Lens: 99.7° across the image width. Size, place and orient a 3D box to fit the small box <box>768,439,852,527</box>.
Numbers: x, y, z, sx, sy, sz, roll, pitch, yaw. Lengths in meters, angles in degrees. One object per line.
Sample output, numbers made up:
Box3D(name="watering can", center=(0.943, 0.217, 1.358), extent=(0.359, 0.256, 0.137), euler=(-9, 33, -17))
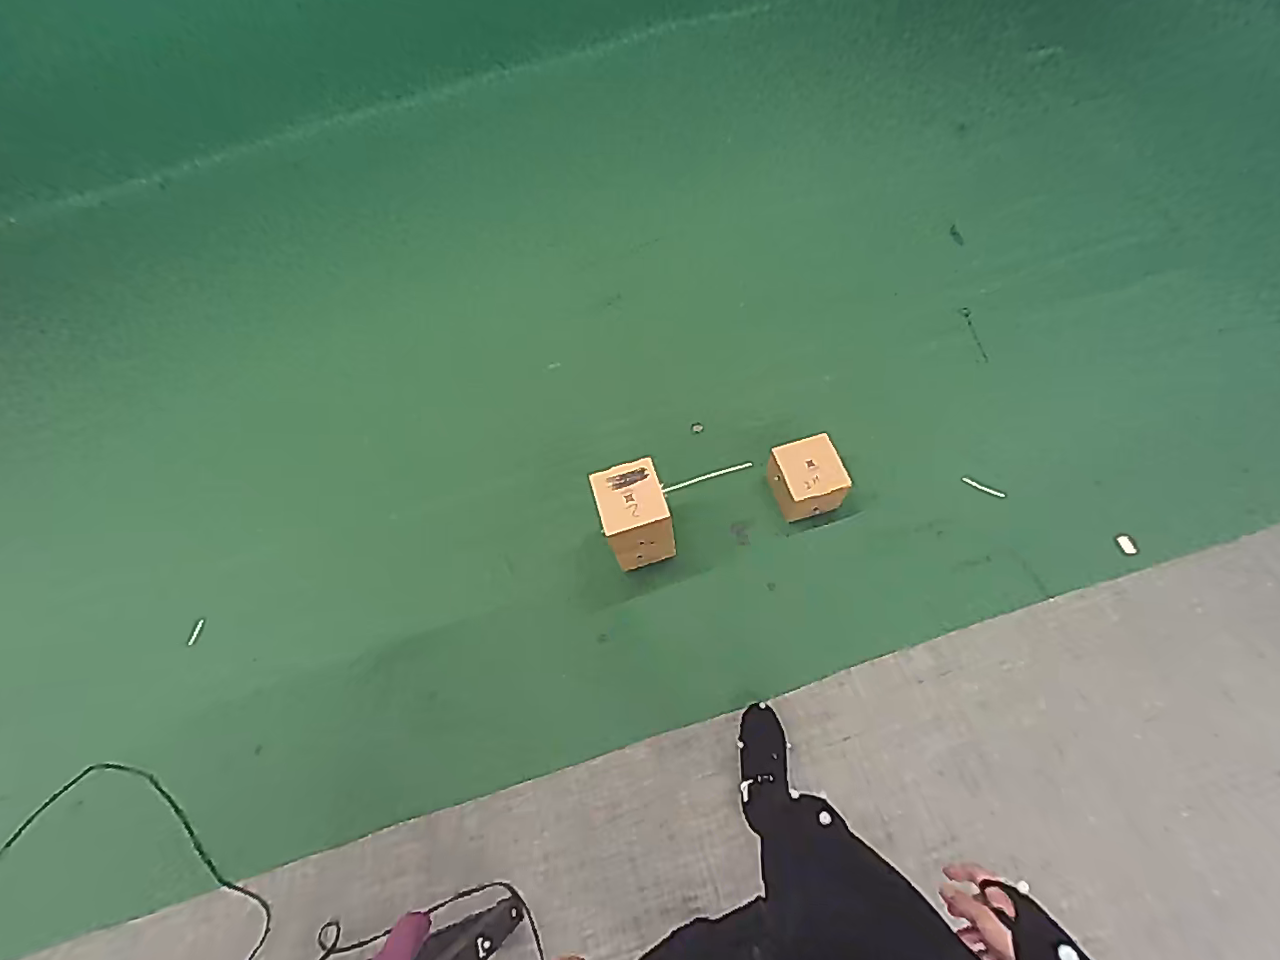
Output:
Box3D(name="small box", center=(0.484, 0.012, 1.570), extent=(0.168, 0.176, 0.179), euler=(-16, 64, -2))

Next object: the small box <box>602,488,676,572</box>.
Box3D(name="small box", center=(0.002, 0.153, 1.553), extent=(0.168, 0.176, 0.179), euler=(-17, 63, -2))
